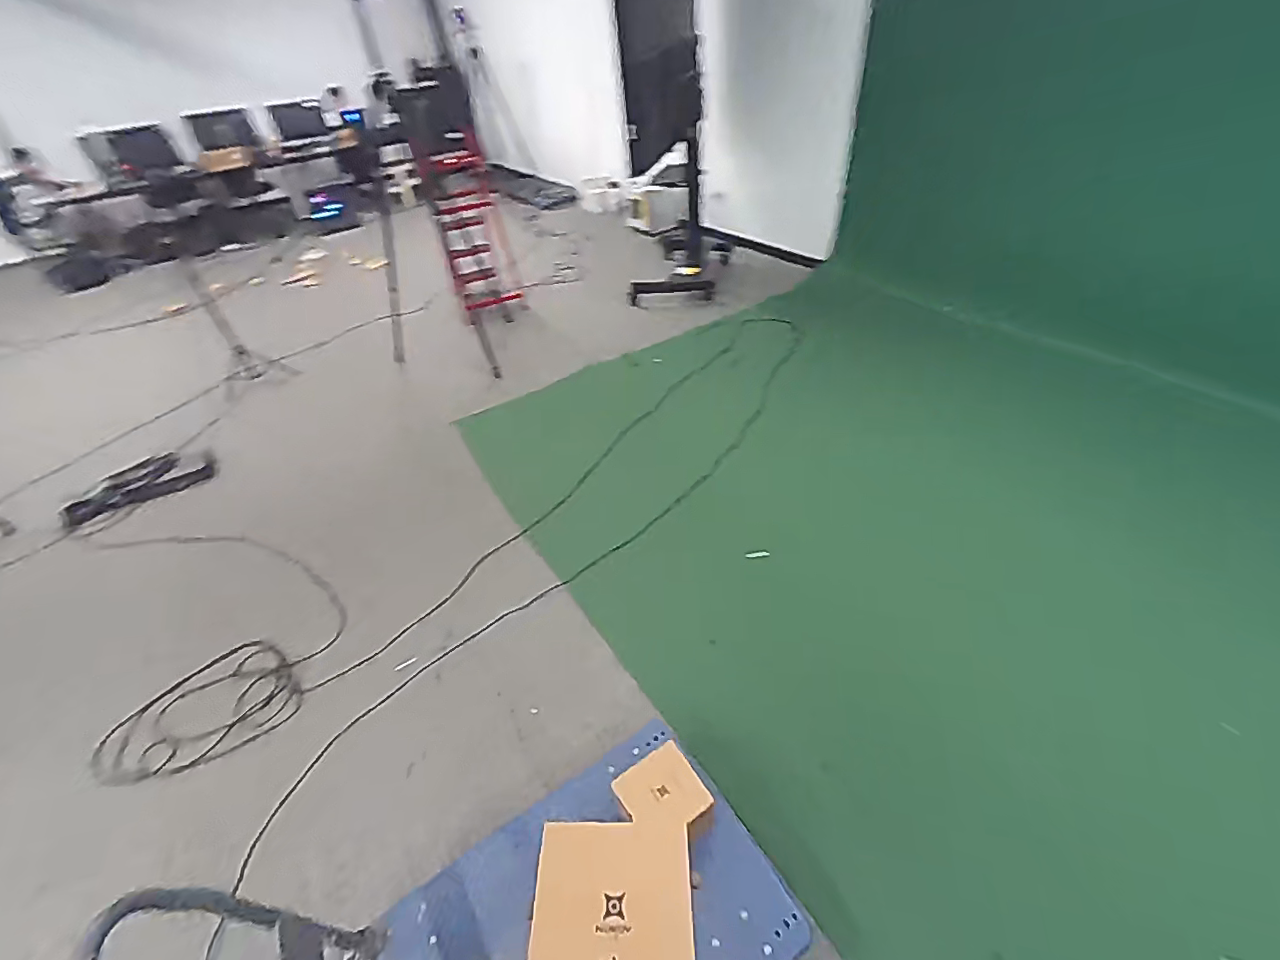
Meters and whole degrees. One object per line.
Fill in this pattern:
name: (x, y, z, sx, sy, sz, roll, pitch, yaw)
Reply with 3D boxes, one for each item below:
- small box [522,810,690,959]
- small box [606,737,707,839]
small box: (-0.035, 0.501, 0.606, 0.168, 0.176, 0.179, 3, 40, 0)
small box: (0.043, 0.745, 1.252, 0.179, 0.176, 0.168, -26, 46, -21)
